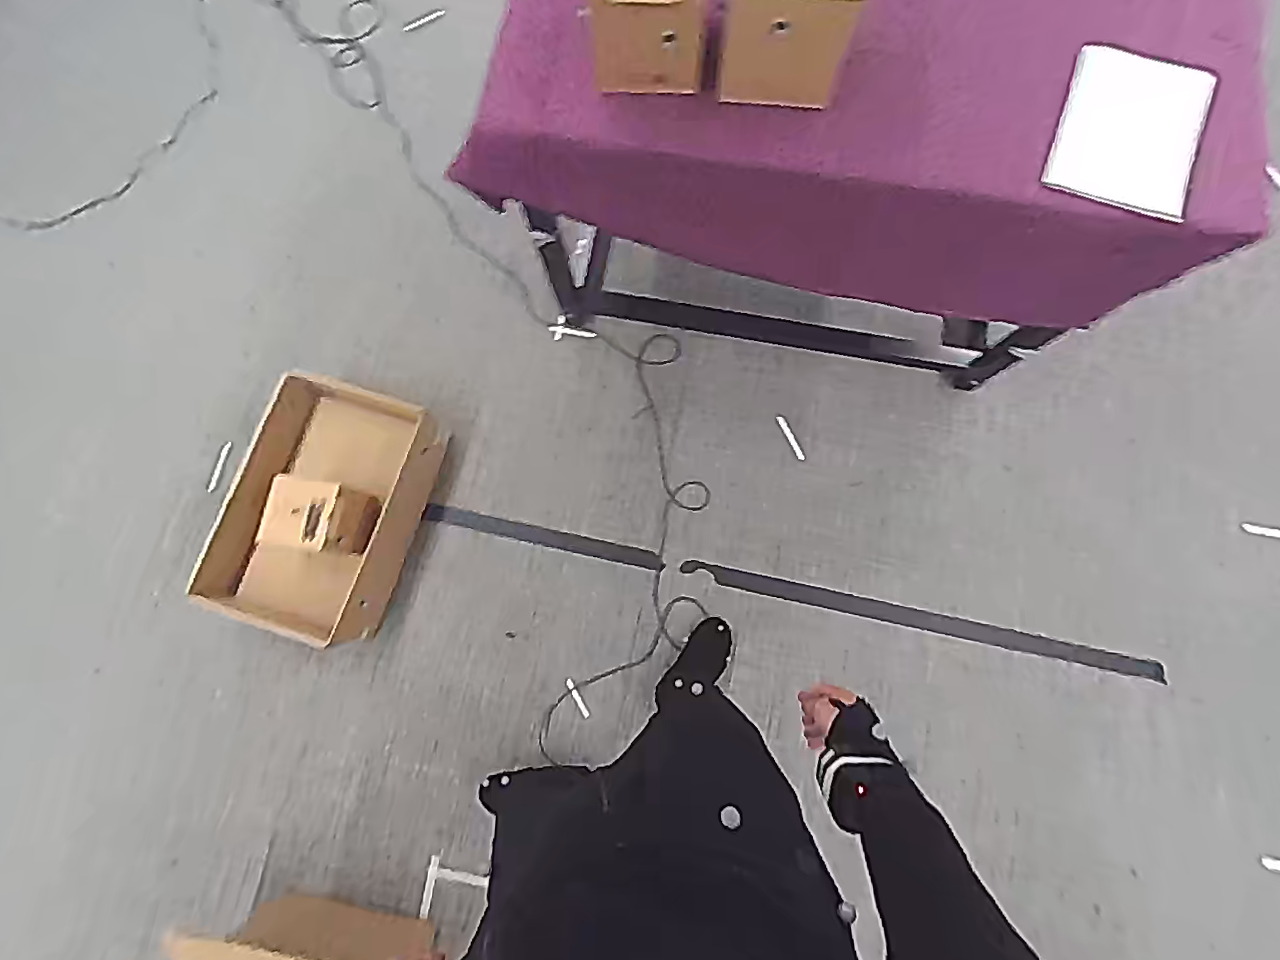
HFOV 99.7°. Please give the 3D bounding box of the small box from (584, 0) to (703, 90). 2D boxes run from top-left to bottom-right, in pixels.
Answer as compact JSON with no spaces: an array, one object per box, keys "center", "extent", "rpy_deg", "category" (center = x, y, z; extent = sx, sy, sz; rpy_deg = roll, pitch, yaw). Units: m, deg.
[{"center":[0.013,-0.729,0.812],"extent":[0.168,0.176,0.179],"rpy_deg":[3,79,2],"category":"small box"}]
